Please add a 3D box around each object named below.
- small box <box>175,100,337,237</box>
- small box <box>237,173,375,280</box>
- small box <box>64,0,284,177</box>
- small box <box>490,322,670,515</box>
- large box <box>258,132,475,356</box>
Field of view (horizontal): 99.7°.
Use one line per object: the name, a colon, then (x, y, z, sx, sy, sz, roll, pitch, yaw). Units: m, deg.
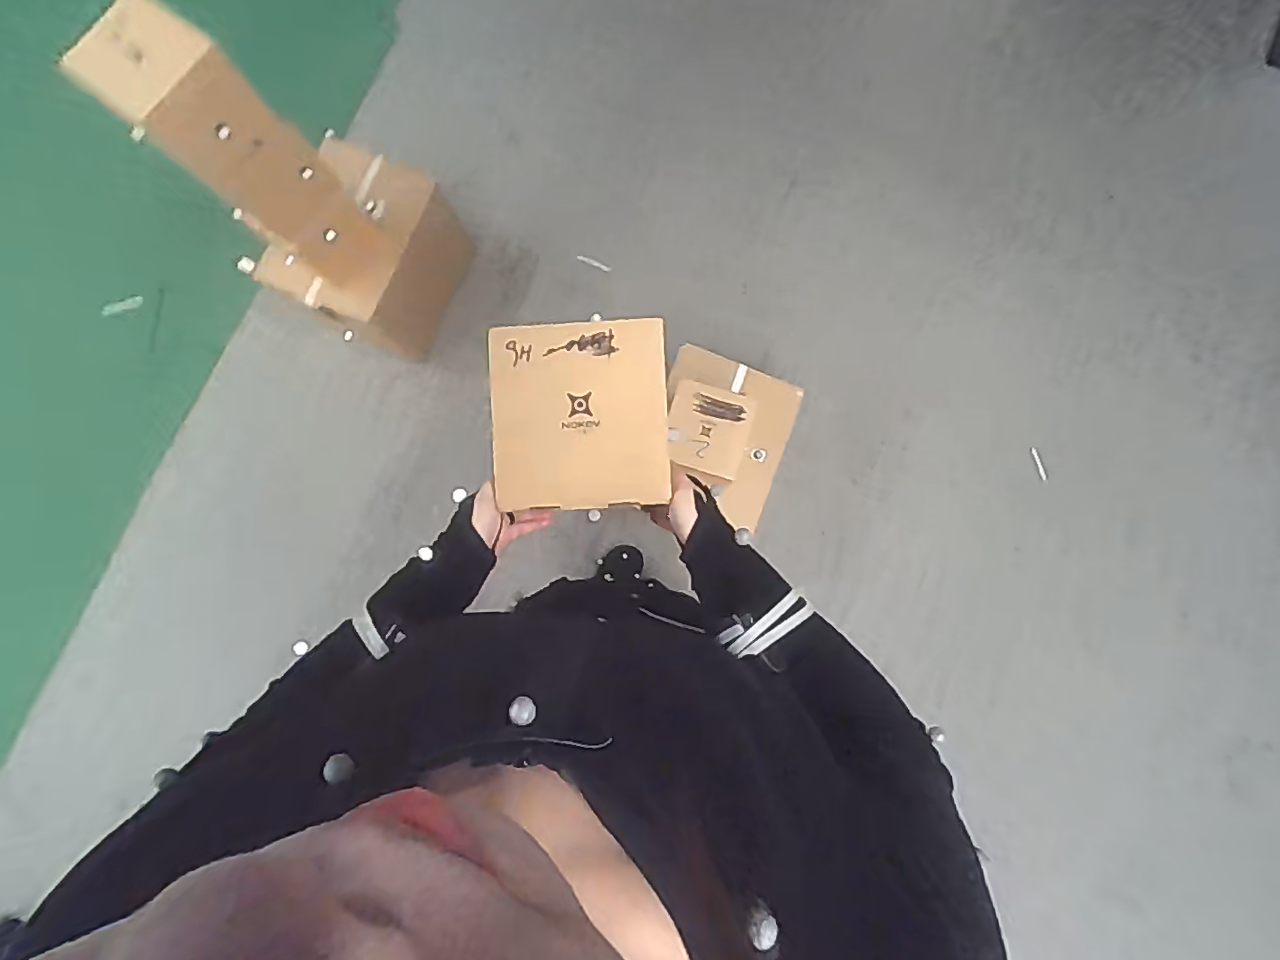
small box: (-0.730, -0.620, 1.047, 0.168, 0.176, 0.179, 37, 86, 5)
small box: (-0.728, -0.591, 1.207, 0.168, 0.176, 0.179, 33, 85, 4)
small box: (-0.742, -0.639, 0.884, 0.179, 0.176, 0.168, 37, 85, 5)
small box: (-0.054, -0.058, 0.585, 0.168, 0.176, 0.179, -3, 90, 0)
large box: (-0.702, -0.608, 1.453, 0.320, 0.320, 0.408, 22, 83, 2)
